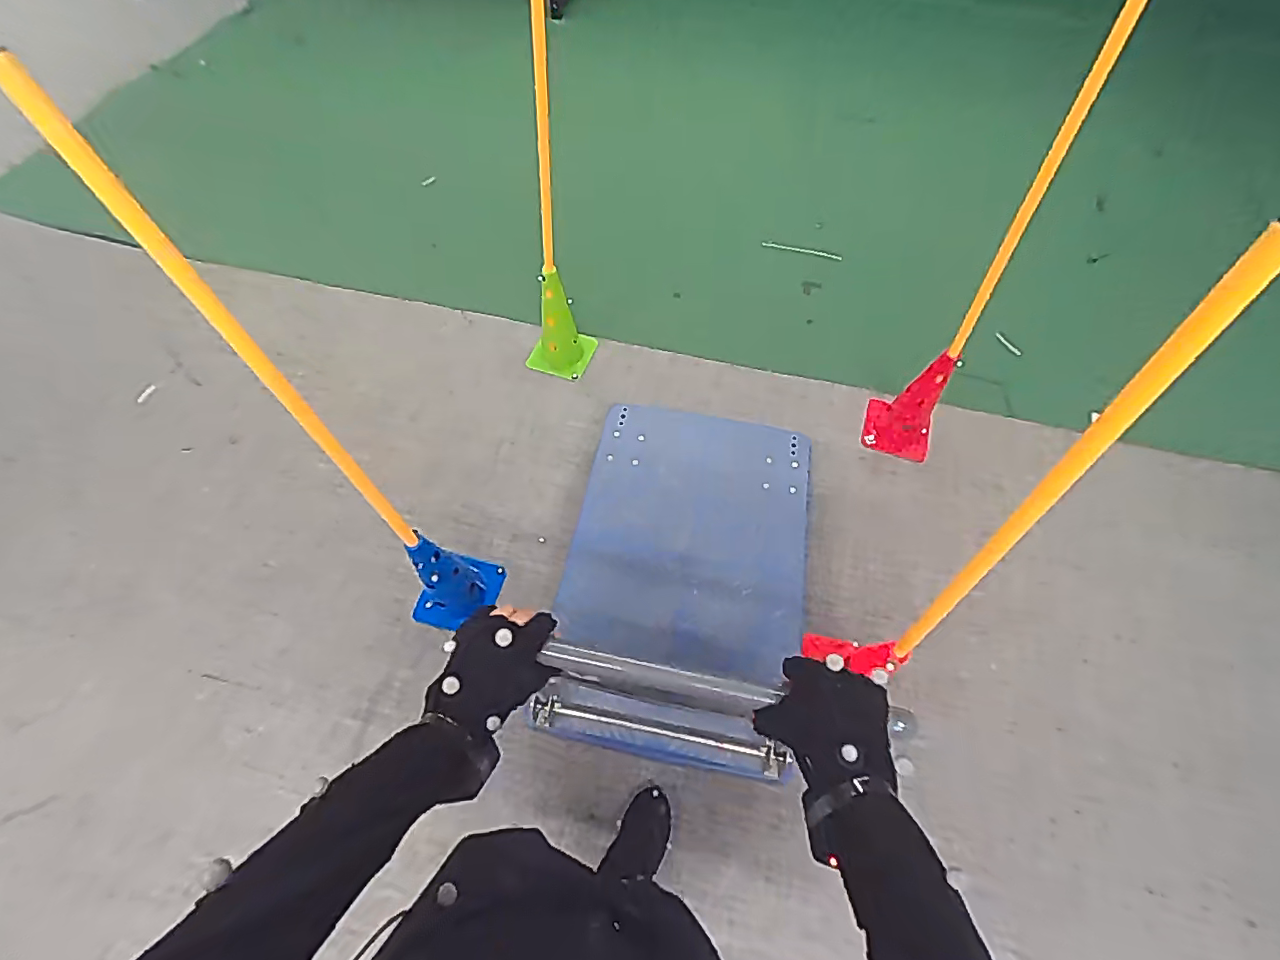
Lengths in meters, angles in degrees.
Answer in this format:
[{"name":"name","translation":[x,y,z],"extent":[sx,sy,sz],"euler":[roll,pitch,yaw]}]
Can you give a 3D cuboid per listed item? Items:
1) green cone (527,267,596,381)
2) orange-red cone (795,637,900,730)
[{"name":"green cone","translation":[-0.270,-0.521,1.731],"extent":[0.202,0.368,0.200],"euler":[17,61,9]},{"name":"orange-red cone","translation":[0.495,0.425,1.219],"extent":[0.199,0.360,0.198],"euler":[12,61,7]}]
